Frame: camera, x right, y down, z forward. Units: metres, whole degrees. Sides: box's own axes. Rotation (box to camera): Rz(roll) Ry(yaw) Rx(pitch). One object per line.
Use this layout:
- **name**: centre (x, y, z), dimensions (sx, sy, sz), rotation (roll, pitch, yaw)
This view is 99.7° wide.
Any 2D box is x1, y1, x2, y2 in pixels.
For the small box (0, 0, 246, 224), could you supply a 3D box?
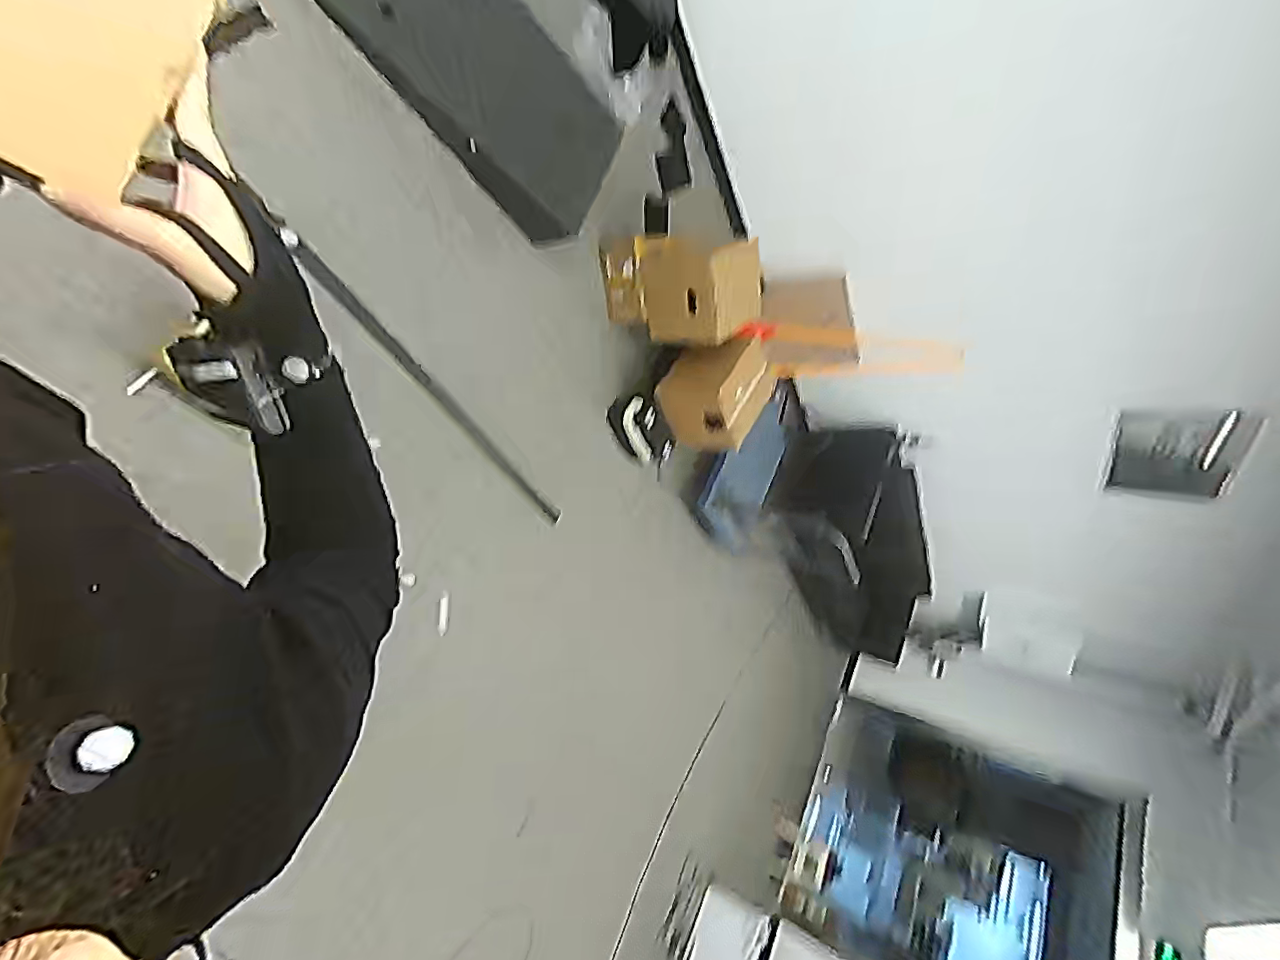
- **small box**: centre (-0.355, -0.262, 0.281), dimensions (0.179, 0.176, 0.168), rotation (28, 84, -52)

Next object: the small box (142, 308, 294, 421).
- **small box**: centre (-0.908, -0.251, 1.168), dimensions (0.168, 0.176, 0.179), rotation (-61, 140, -25)
